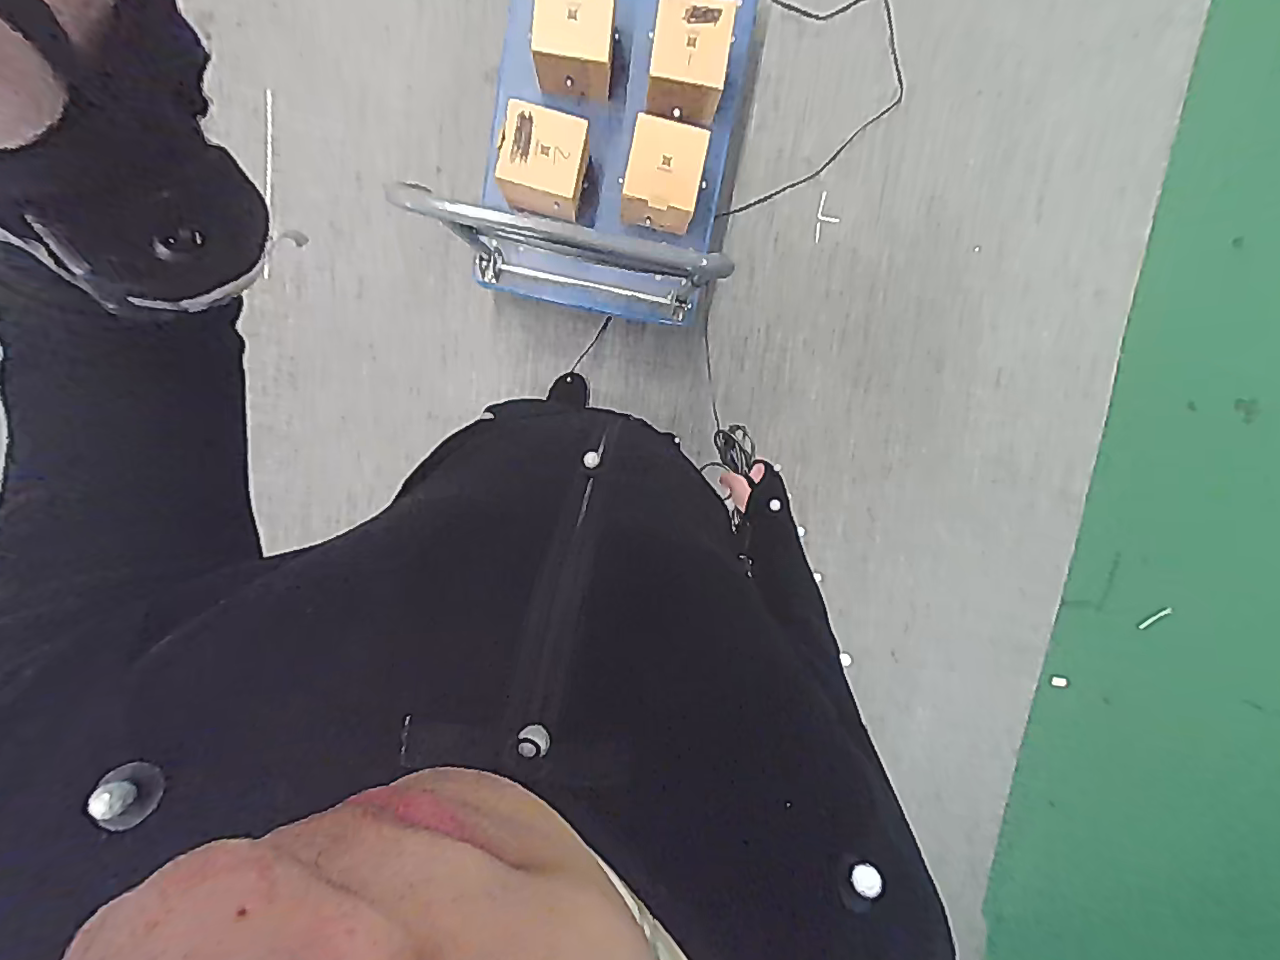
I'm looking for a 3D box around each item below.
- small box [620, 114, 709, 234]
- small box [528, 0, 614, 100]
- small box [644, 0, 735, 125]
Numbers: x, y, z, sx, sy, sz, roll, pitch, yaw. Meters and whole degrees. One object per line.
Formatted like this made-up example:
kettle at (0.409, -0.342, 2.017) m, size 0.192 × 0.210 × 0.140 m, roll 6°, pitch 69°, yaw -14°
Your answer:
small box at (0.048, -0.704, 1.263) m, size 0.168 × 0.176 × 0.179 m, roll 12°, pitch 99°, yaw -5°
small box at (-0.148, -0.988, 1.203) m, size 0.168 × 0.176 × 0.179 m, roll 7°, pitch 99°, yaw -5°
small box at (0.104, -0.949, 1.225) m, size 0.168 × 0.176 × 0.179 m, roll 9°, pitch 100°, yaw -4°
